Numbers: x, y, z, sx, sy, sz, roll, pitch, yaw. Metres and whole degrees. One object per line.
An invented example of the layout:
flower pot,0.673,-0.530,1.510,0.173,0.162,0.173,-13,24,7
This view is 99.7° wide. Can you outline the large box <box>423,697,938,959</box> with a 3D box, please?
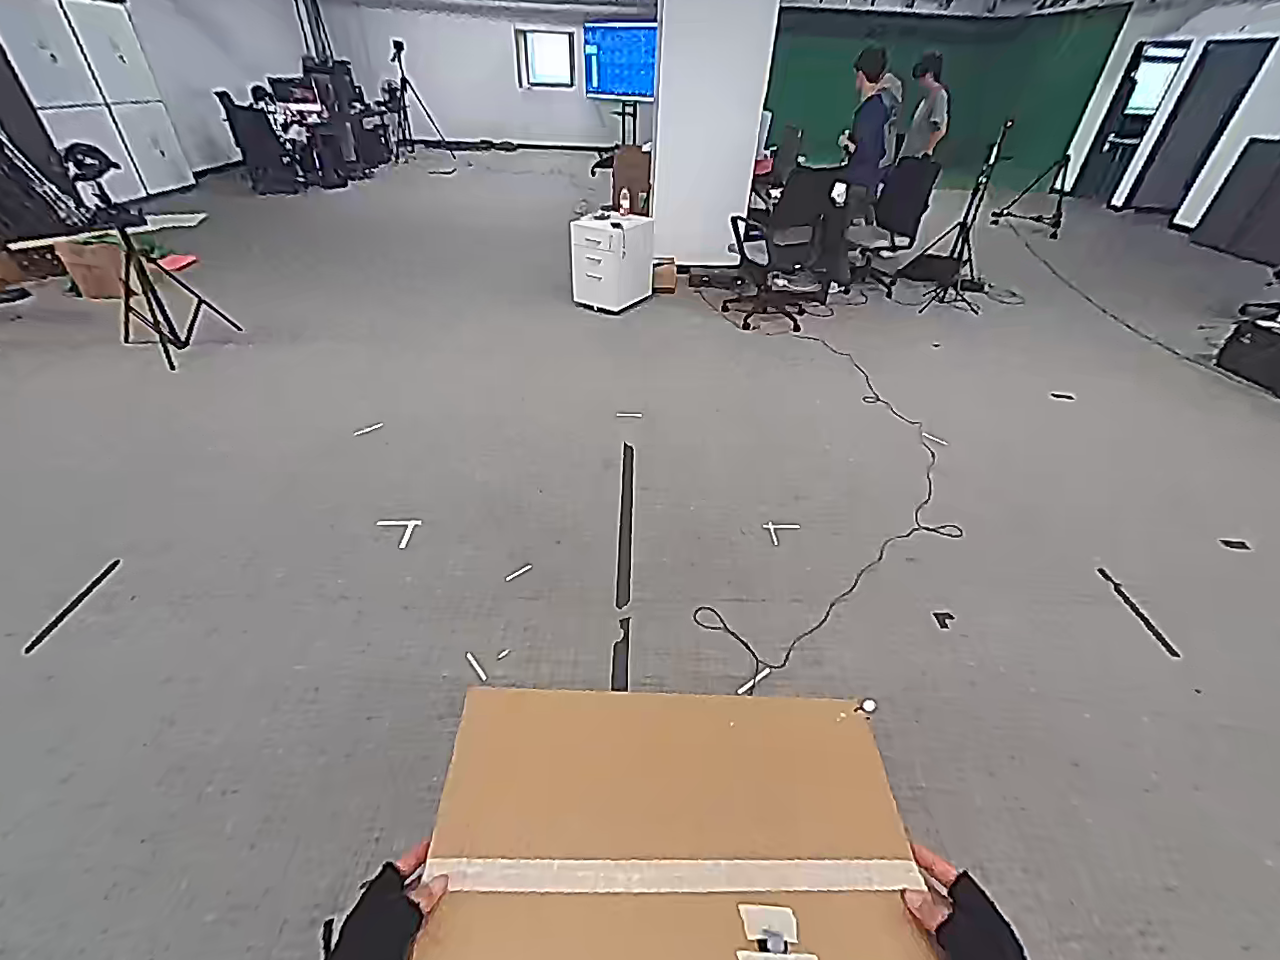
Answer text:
large box,0.020,0.443,0.546,0.408,0.320,0.320,3,41,-5
